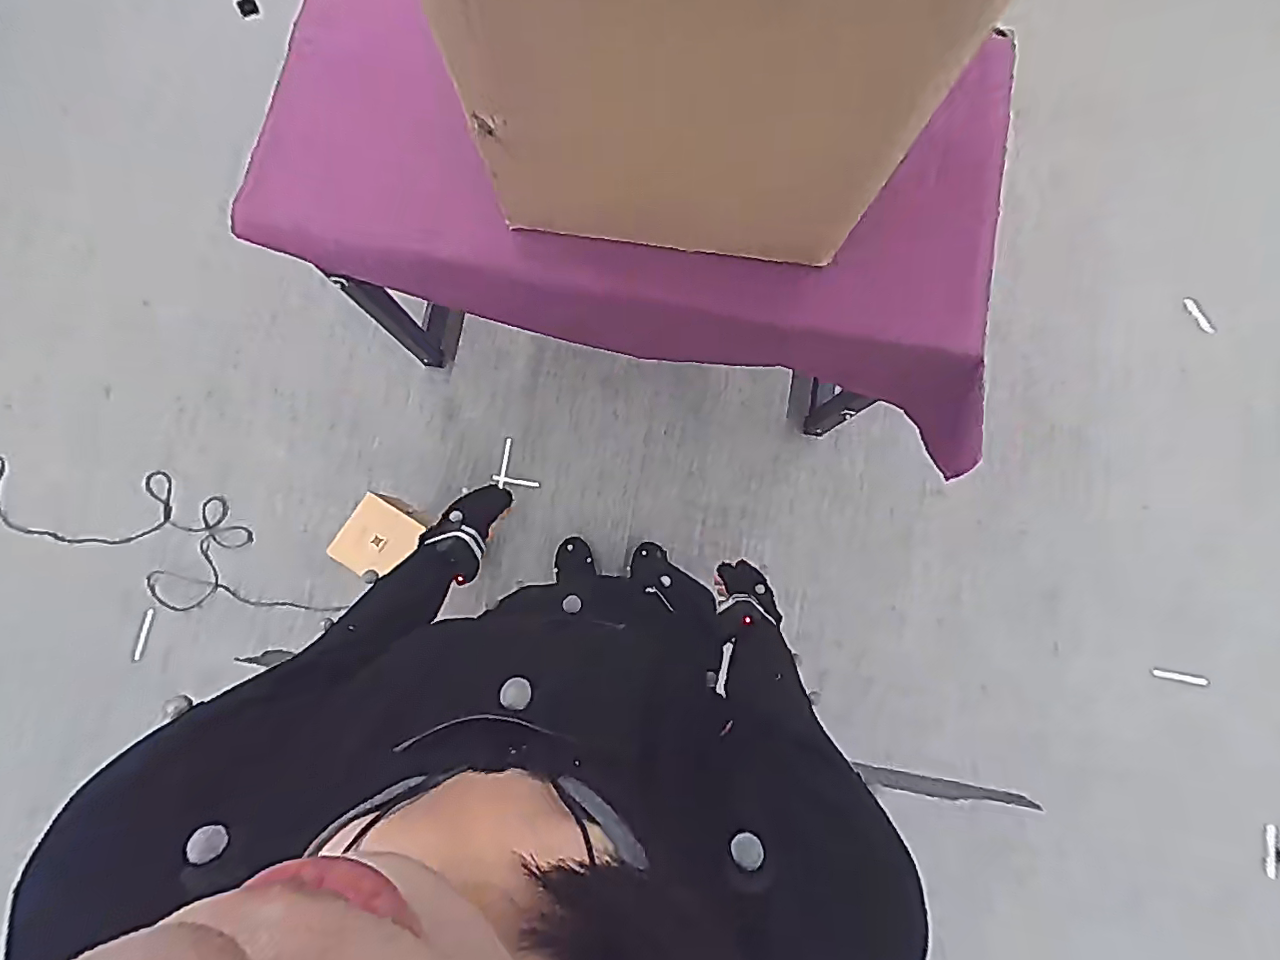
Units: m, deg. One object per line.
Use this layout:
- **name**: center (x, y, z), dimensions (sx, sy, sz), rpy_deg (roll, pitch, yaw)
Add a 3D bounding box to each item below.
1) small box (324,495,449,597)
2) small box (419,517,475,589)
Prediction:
- **small box**: center (-0.583, 0.154, 1.272), dimensions (0.179, 0.176, 0.168), rpy_deg (31, 82, 4)
- **small box**: center (-0.560, 0.187, 1.432), dimensions (0.179, 0.176, 0.168), rpy_deg (12, 82, 0)
